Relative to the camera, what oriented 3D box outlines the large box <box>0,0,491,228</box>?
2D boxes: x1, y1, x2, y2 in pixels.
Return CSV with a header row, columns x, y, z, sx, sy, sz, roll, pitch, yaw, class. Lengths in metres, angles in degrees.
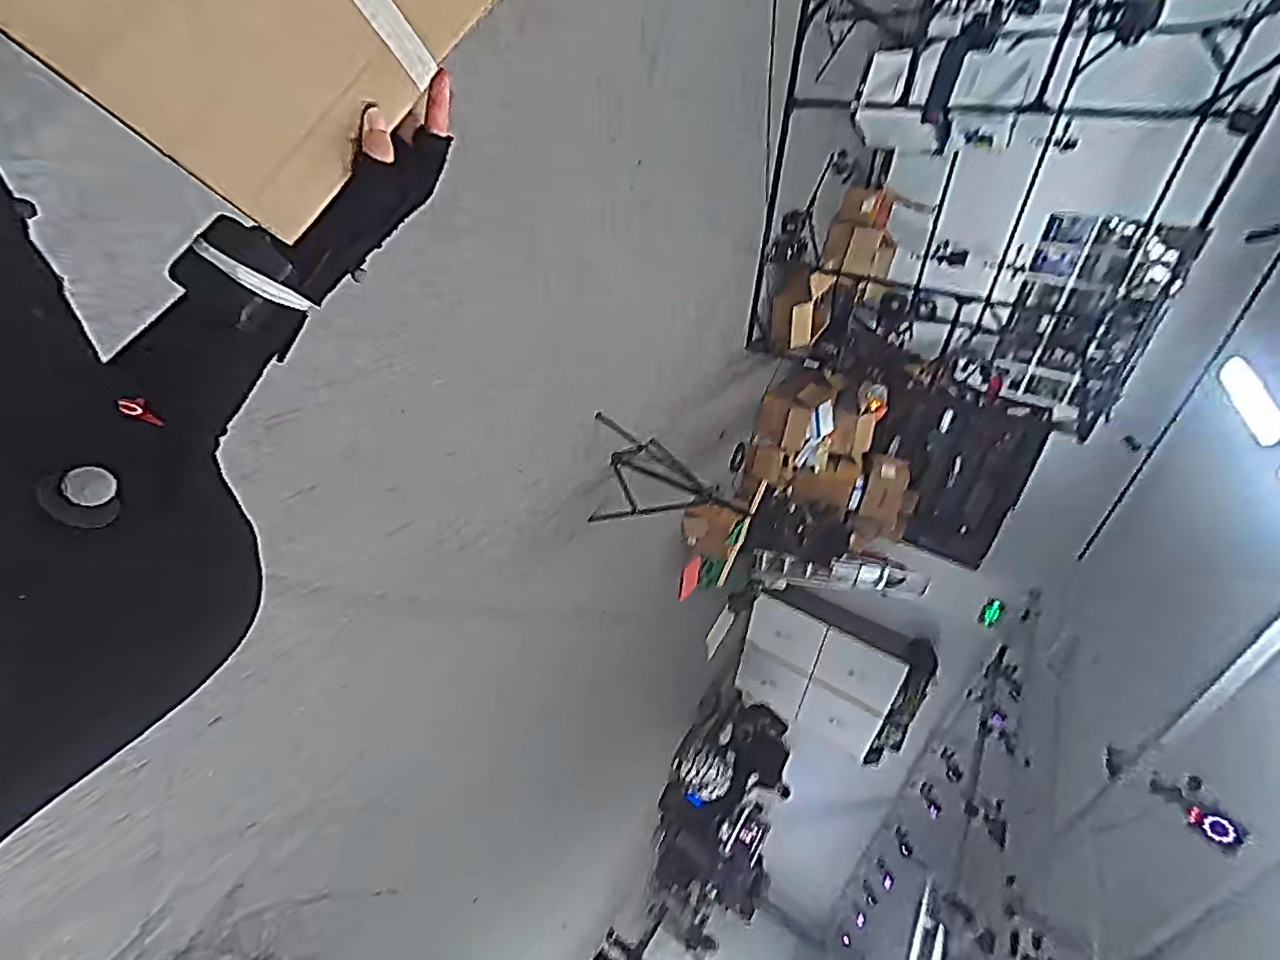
x,y,z,sx,sy,sz,roll,pitch,yaw,class
-0.337,-0.441,0.302,0.320,0.320,0.408,-51,151,-1,large box
